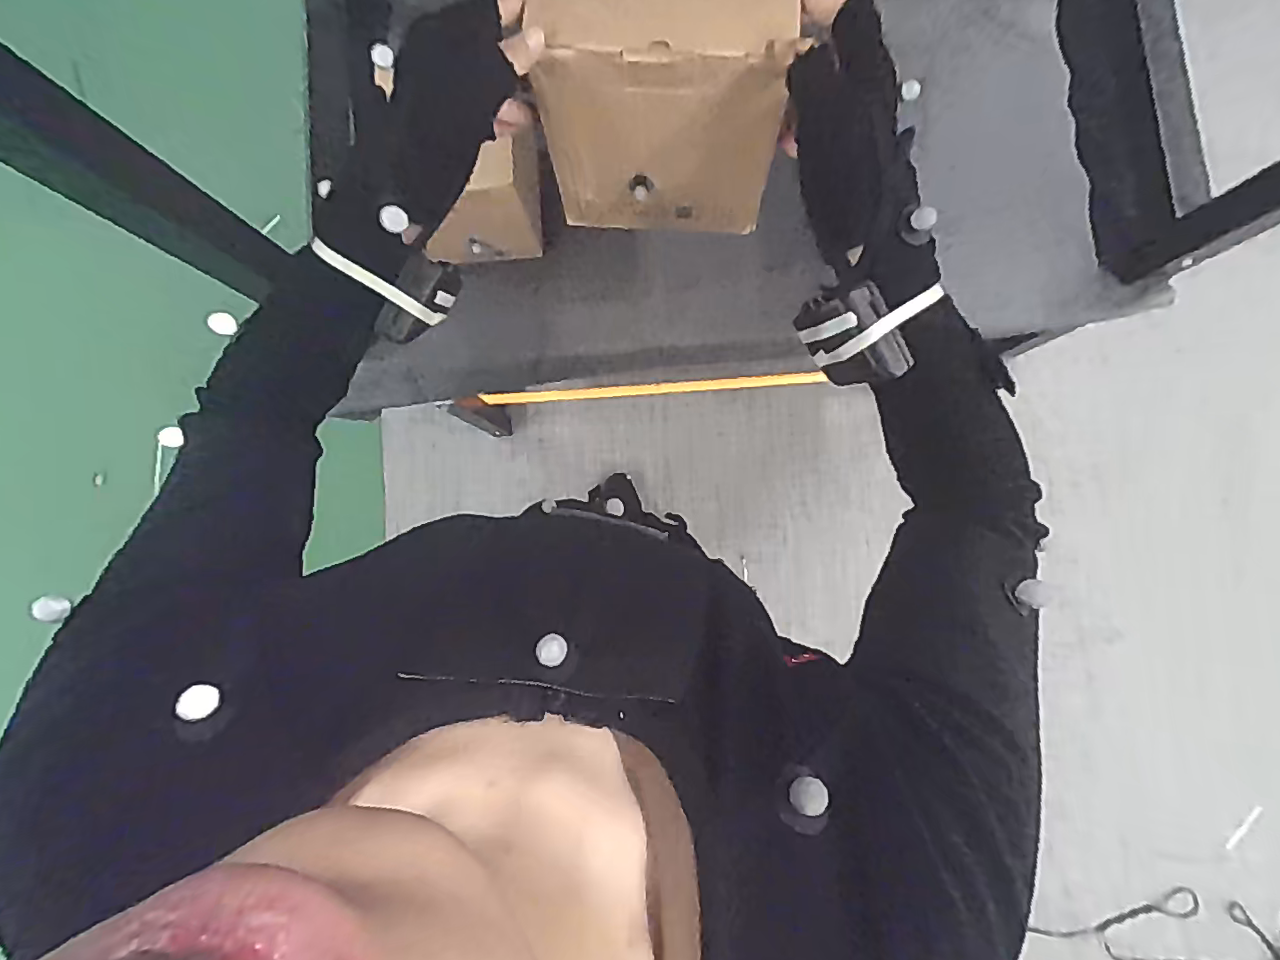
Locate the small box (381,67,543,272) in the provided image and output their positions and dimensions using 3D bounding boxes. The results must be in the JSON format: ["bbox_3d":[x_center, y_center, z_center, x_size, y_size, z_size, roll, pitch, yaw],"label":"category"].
[{"bbox_3d":[-0.232,-0.409,0.736,0.168,0.176,0.179,-4,84,2],"label":"small box"}]
